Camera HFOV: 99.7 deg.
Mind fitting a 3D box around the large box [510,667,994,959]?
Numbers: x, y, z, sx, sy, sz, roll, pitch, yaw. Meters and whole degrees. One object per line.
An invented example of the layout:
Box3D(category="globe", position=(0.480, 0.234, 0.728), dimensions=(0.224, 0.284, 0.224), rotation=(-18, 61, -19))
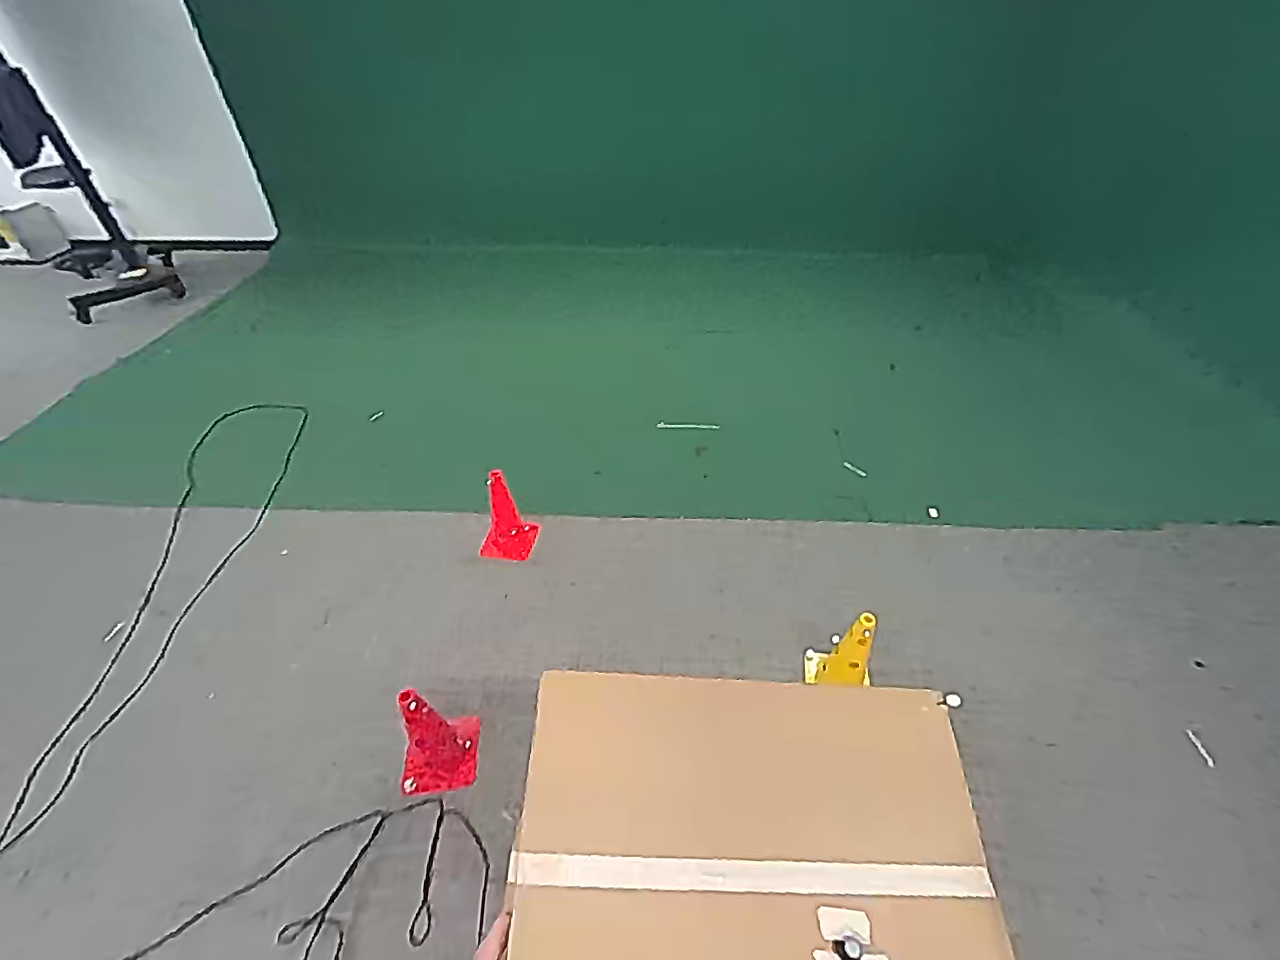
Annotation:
Box3D(category="large box", position=(0.083, 0.407, 0.595), dimensions=(0.408, 0.320, 0.320), rotation=(4, 58, -3))

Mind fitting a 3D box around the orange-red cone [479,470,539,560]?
Box3D(category="orange-red cone", position=(-0.526, 0.111, 2.055), dimensions=(0.199, 0.360, 0.198), rotation=(5, 41, 8))
